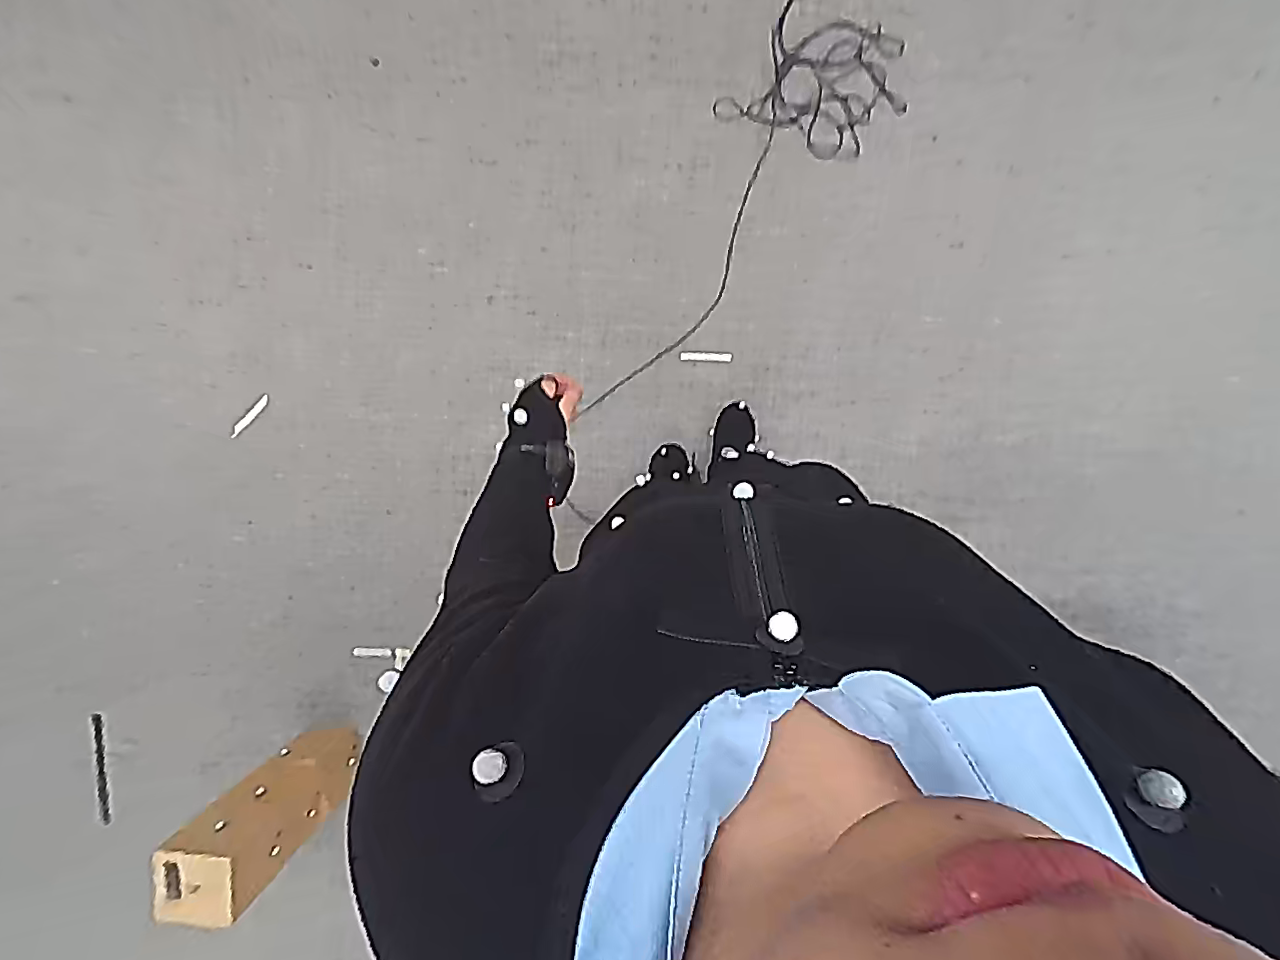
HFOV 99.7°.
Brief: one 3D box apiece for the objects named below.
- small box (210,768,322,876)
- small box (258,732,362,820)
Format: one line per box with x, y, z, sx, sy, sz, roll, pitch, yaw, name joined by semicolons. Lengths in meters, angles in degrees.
-0.962;0.874;1.397;0.179;0.176;0.168;3;95;3;small box
-0.944;0.853;1.558;0.179;0.176;0.168;-10;95;5;small box
